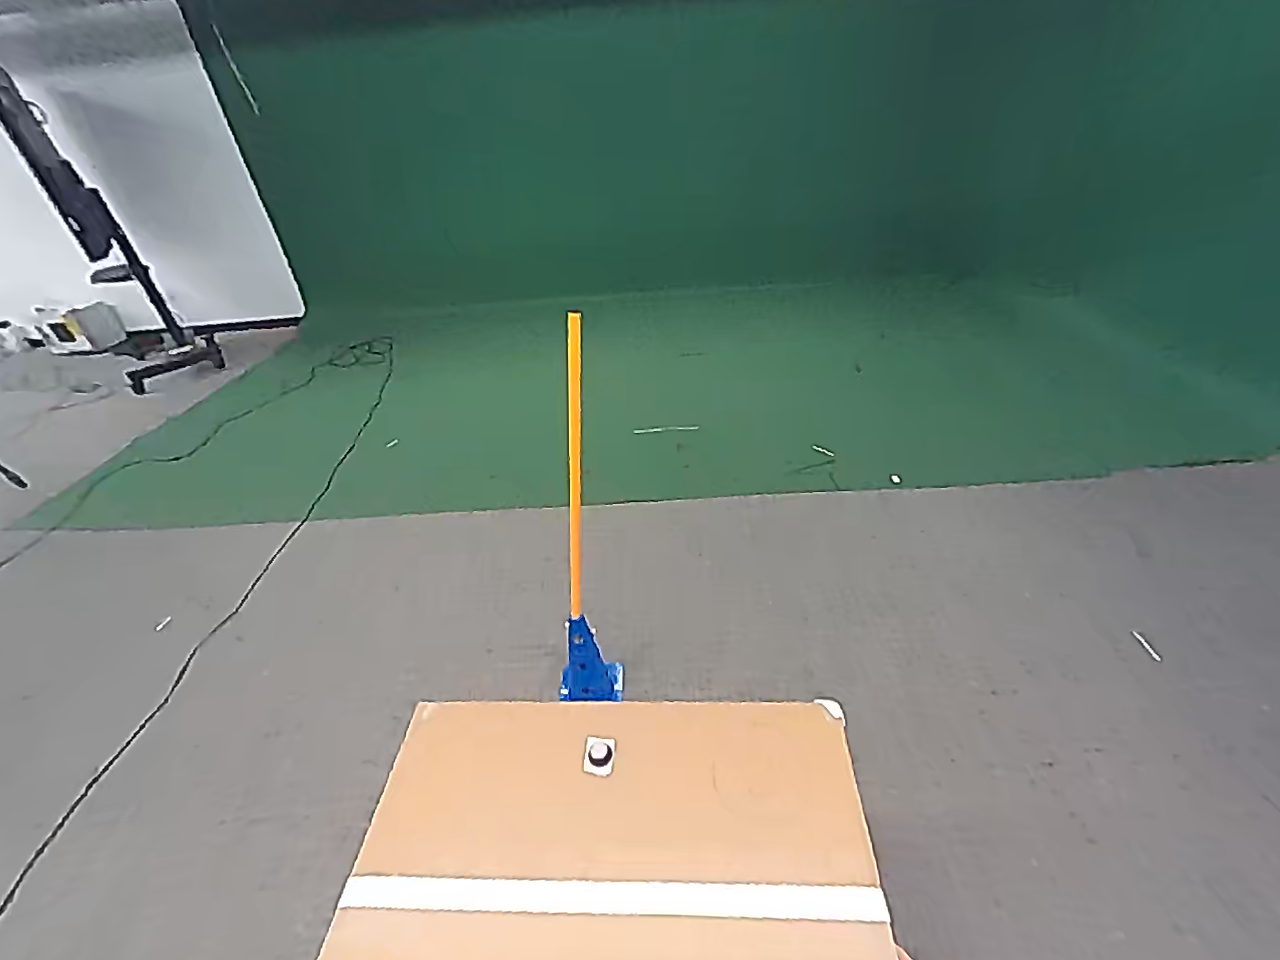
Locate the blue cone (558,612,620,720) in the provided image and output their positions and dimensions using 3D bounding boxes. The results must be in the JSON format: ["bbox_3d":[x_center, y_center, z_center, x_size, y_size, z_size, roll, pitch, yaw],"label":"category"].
[{"bbox_3d":[-0.166,0.522,1.595,0.193,0.380,0.192,-3,35,0],"label":"blue cone"}]
